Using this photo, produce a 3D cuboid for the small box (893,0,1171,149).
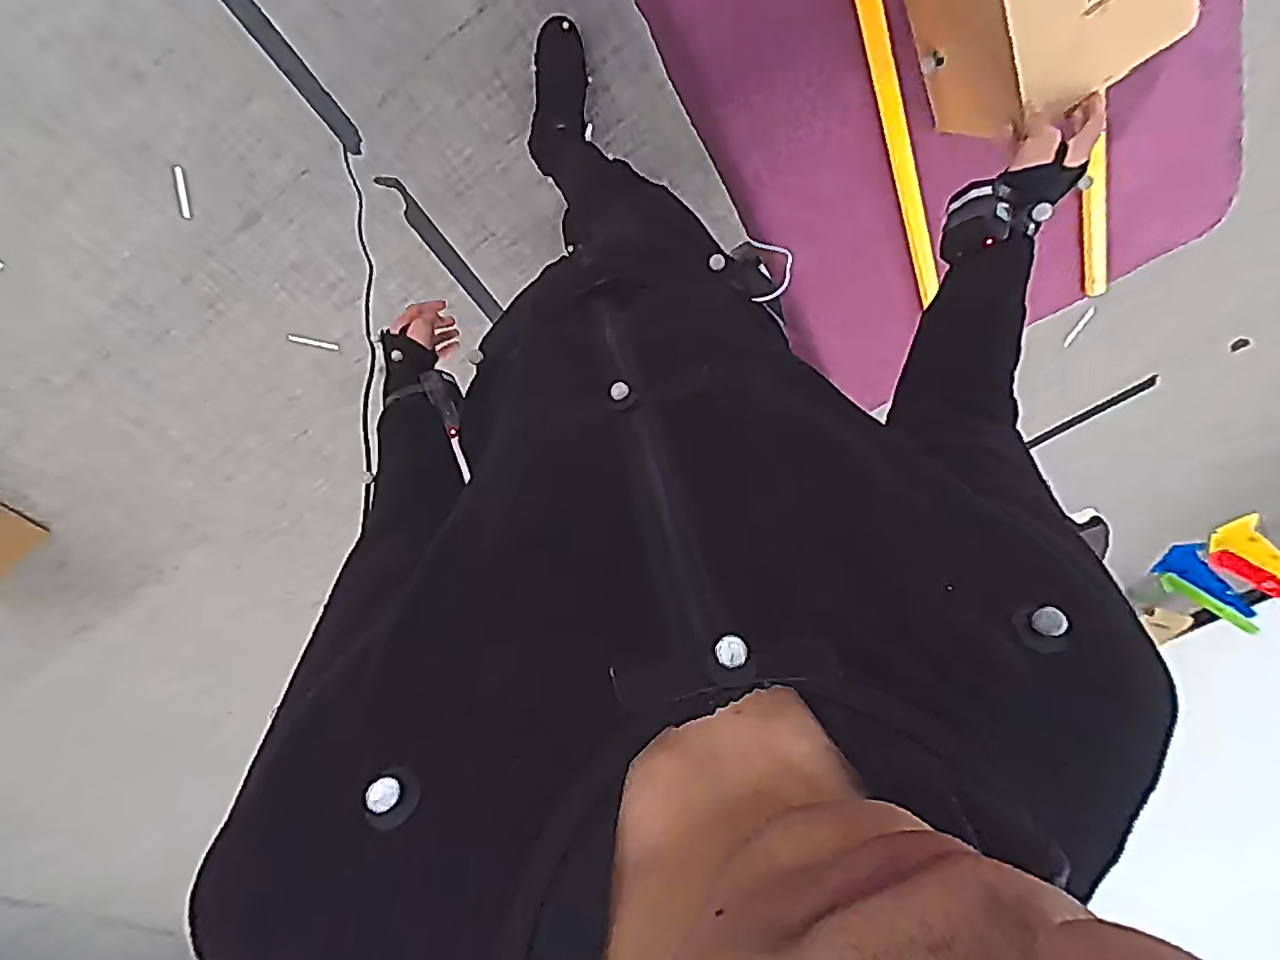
[{"bbox_3d":[0.404,-0.496,0.574,0.168,0.176,0.179,-32,125,14],"label":"small box"}]
